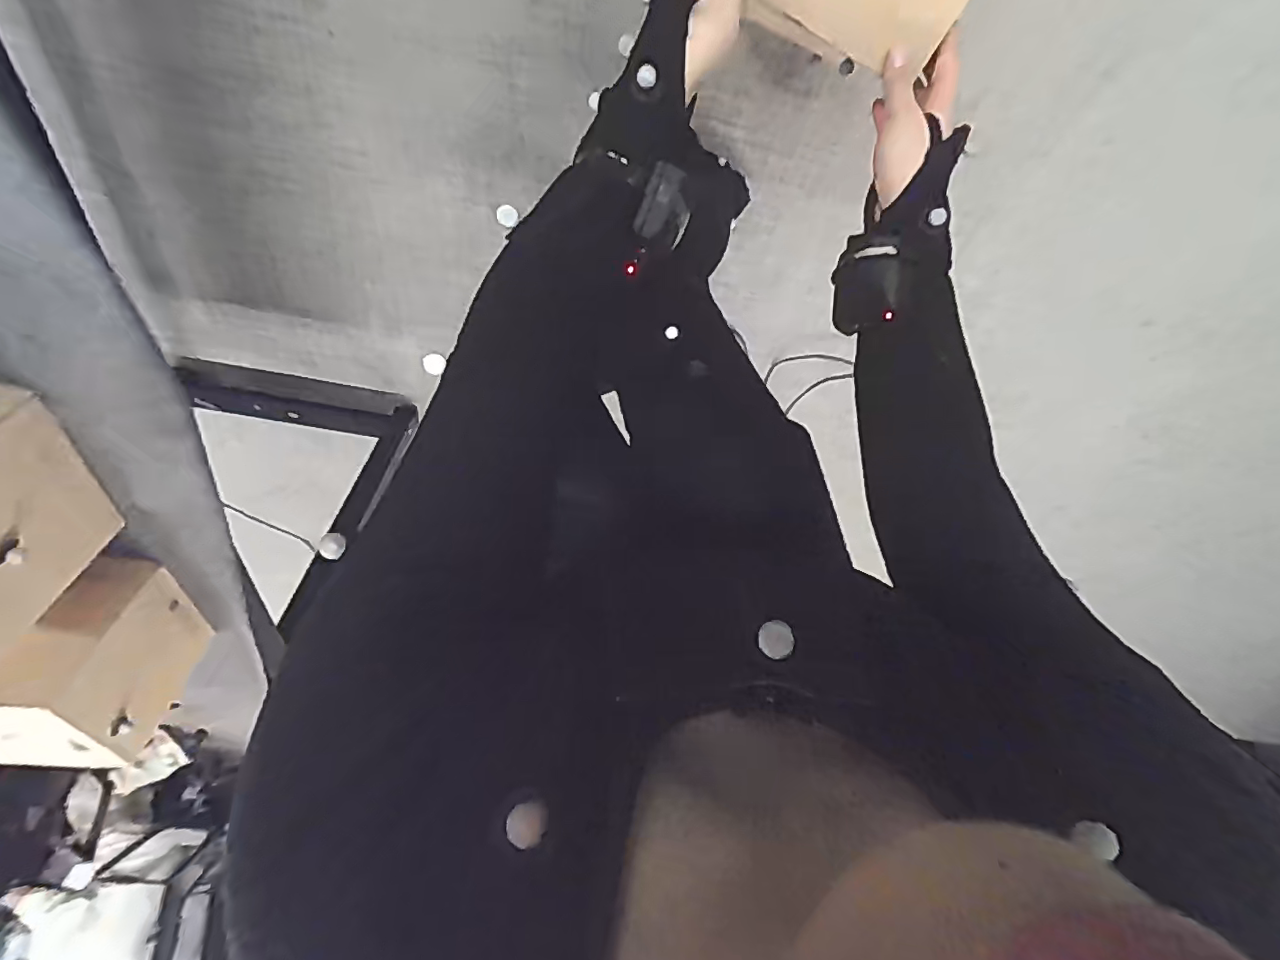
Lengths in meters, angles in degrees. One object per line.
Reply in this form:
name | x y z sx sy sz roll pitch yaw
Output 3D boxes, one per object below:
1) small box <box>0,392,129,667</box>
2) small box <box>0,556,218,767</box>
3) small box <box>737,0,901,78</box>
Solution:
small box | -0.577 0.025 0.426 0.168 0.176 0.179 13 136 -8
small box | -0.625 0.191 0.594 0.179 0.176 0.168 9 135 -6
small box | 0.248 -0.680 0.719 0.179 0.176 0.168 16 133 -13
